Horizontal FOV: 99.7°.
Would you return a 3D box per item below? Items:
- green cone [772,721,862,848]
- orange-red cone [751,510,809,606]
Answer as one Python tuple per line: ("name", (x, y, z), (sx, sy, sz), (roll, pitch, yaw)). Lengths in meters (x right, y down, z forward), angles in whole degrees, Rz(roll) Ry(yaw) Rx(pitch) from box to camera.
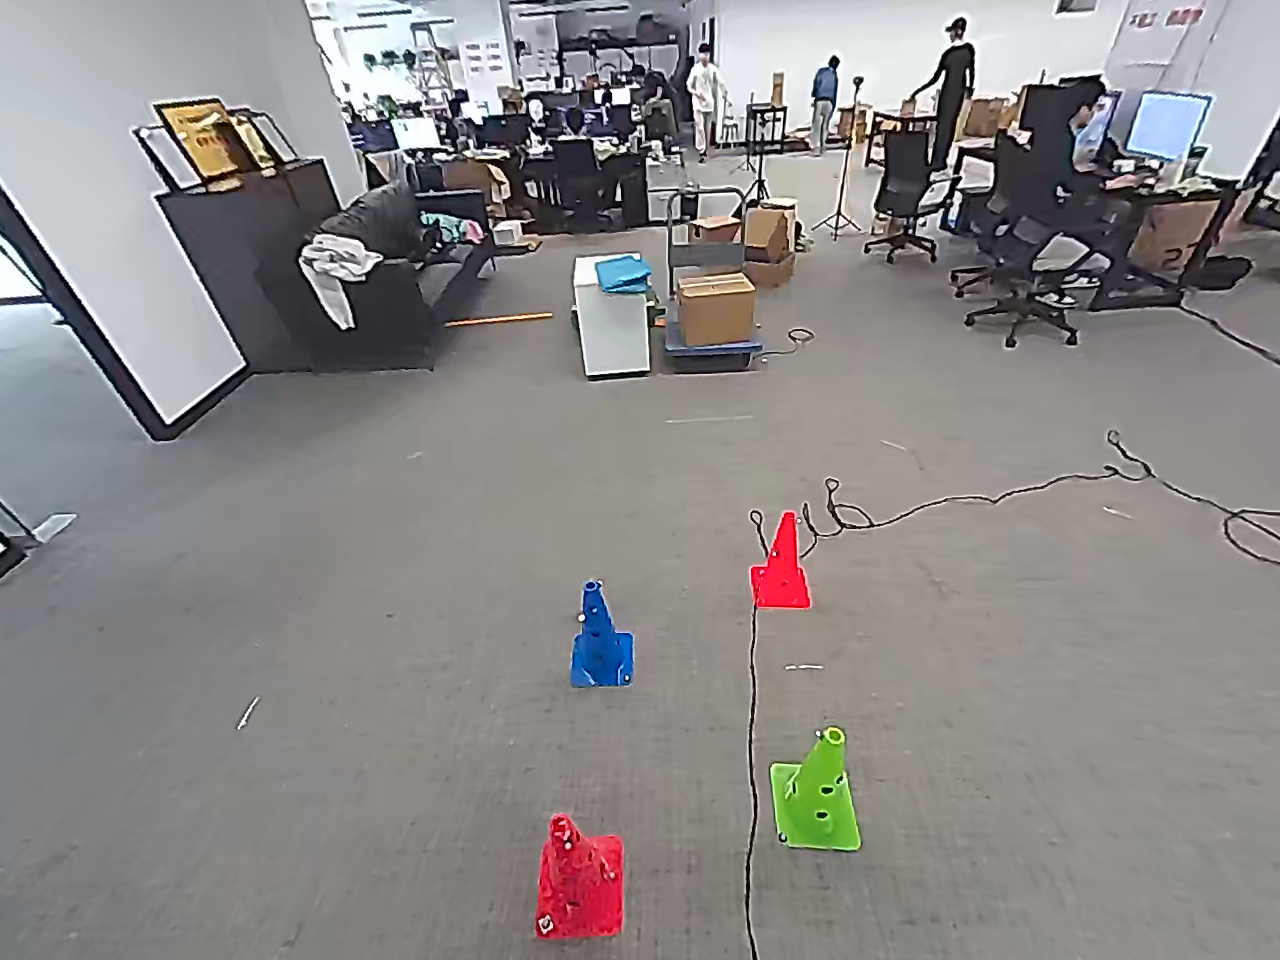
("green cone", (0.442, 0.694, 1.288), (0.200, 0.368, 0.202), (-1, 37, 4))
("orange-red cone", (0.495, 0.250, 1.867), (0.198, 0.360, 0.199), (0, 39, 7))
